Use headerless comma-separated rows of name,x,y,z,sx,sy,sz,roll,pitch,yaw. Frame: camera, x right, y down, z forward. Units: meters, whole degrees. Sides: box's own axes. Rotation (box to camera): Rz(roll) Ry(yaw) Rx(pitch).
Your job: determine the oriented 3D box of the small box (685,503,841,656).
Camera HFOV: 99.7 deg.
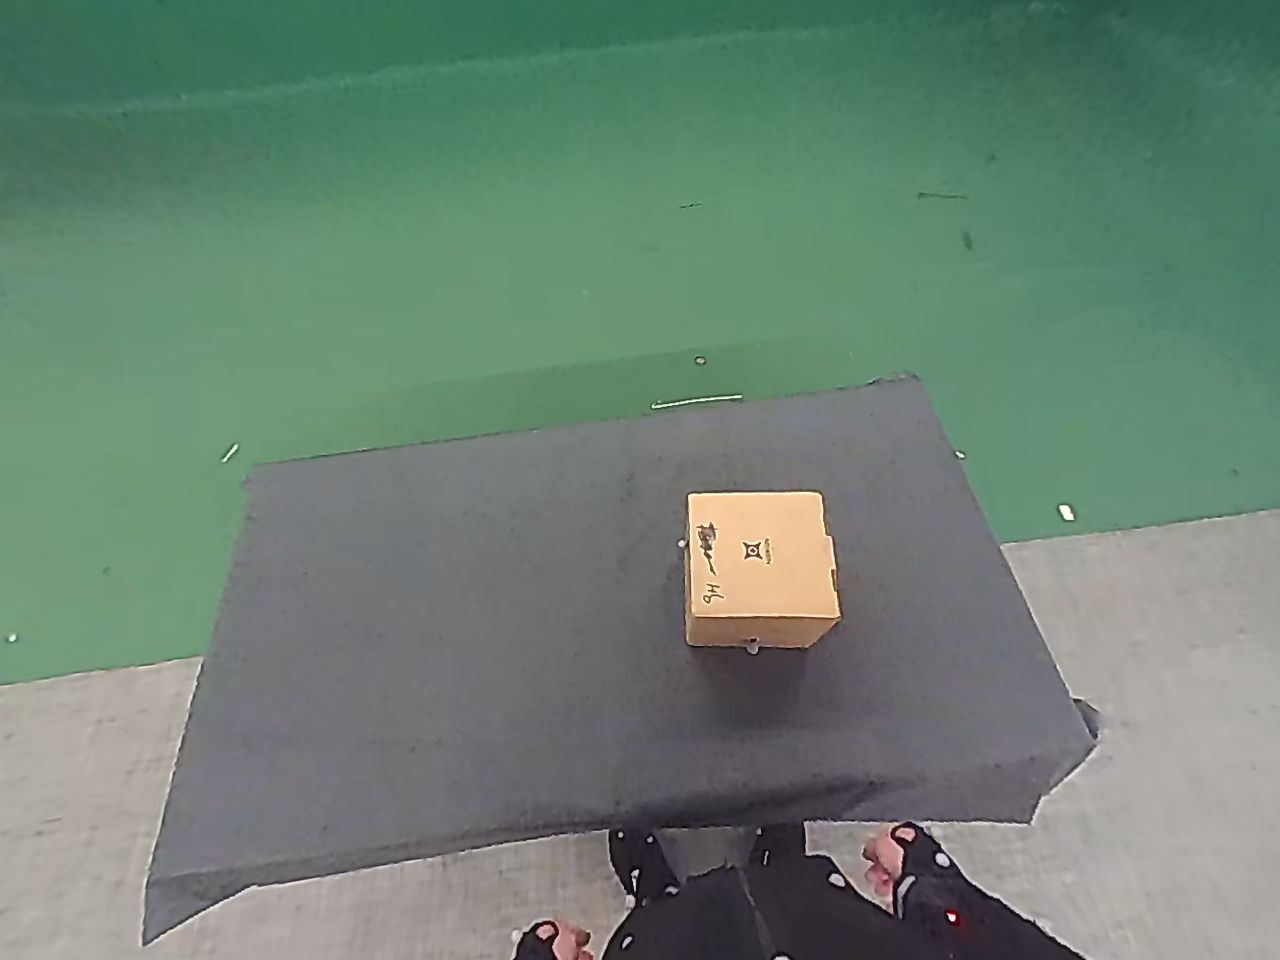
small box,0.154,0.142,0.743,0.179,0.176,0.168,0,61,3
